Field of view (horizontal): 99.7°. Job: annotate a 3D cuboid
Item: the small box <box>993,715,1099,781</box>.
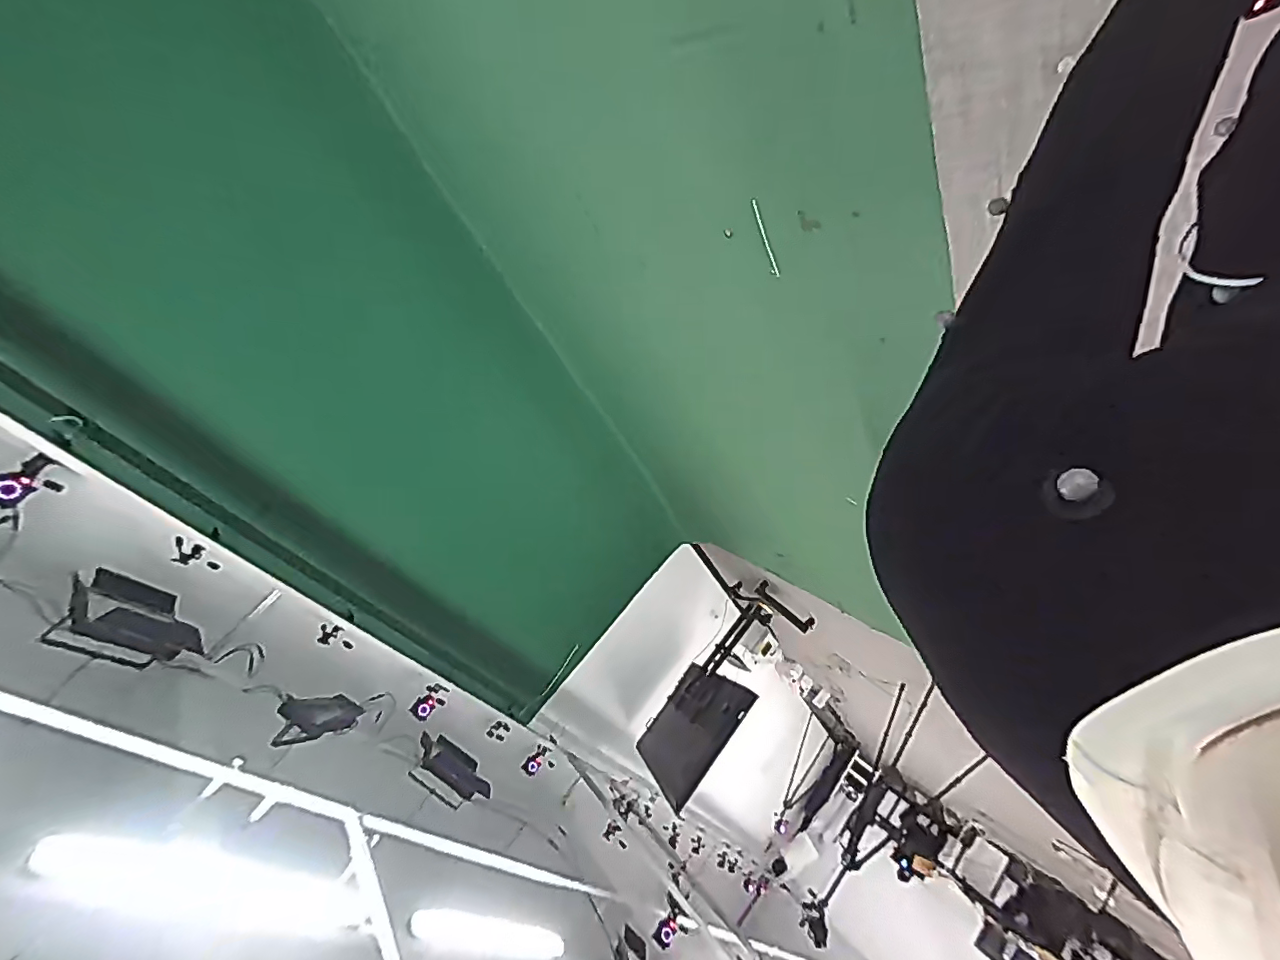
[{"bbox_3d":[1.248,0.774,1.665,0.179,0.176,0.168,43,165,-4],"label":"small box"}]
